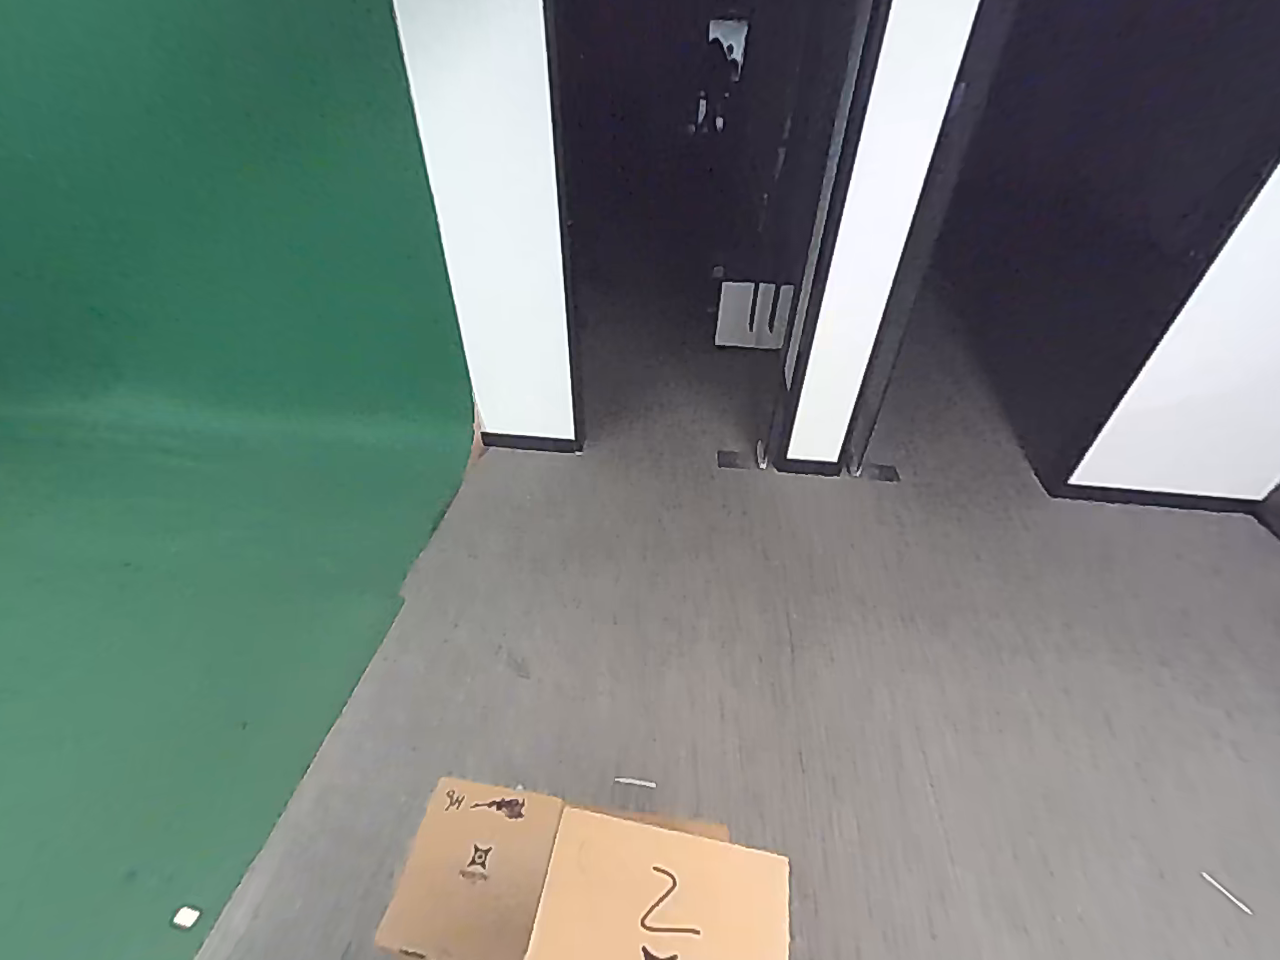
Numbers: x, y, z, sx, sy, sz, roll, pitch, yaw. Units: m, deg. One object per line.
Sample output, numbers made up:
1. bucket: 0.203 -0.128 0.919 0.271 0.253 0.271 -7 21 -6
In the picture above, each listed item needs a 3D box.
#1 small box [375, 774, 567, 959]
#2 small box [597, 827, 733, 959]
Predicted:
1. small box: -0.193 0.508 0.684 0.168 0.176 0.179 7 42 6
2. small box: 0.040 0.643 0.780 0.168 0.176 0.179 7 39 9
